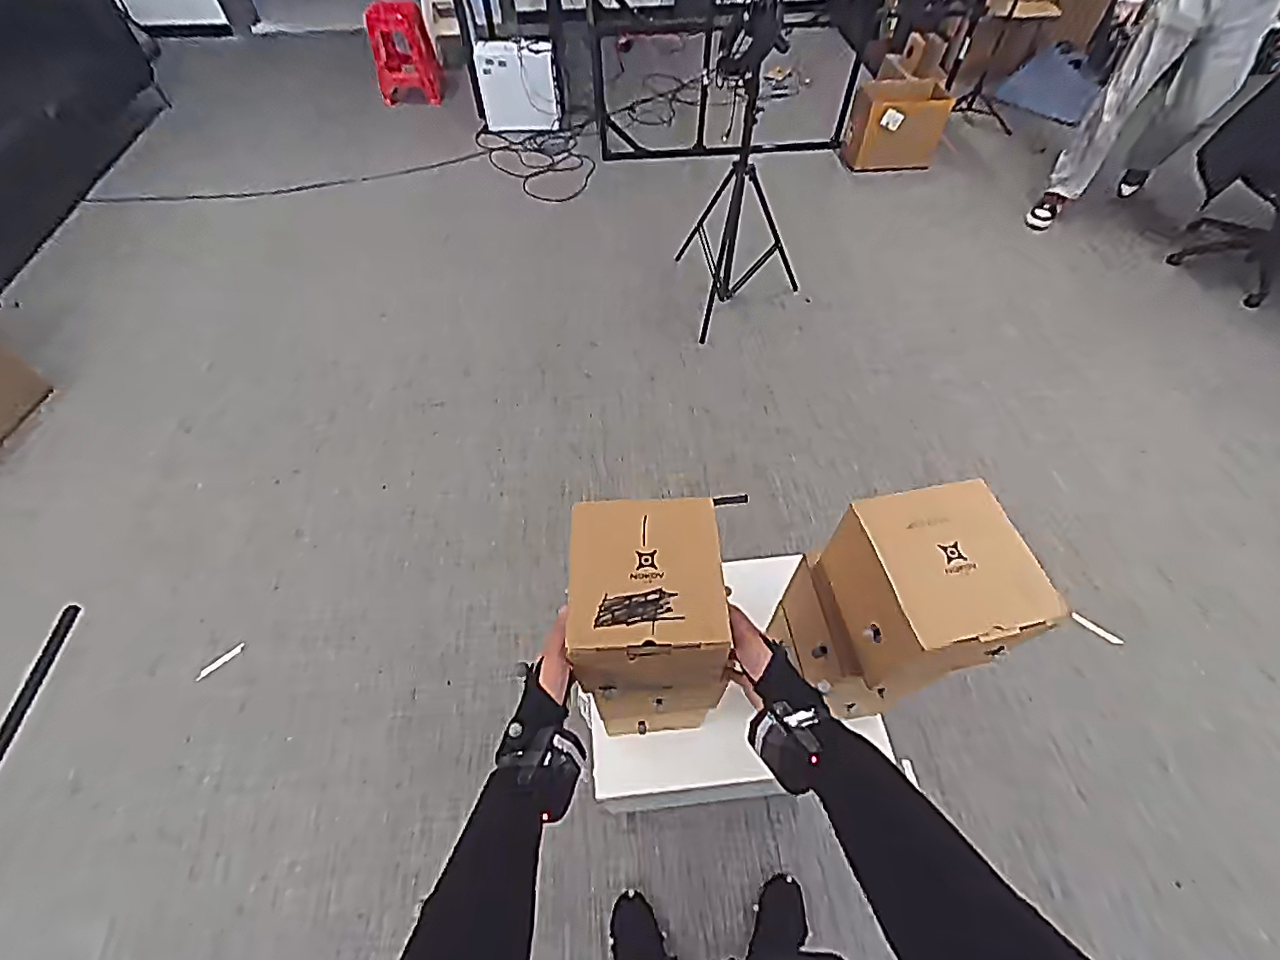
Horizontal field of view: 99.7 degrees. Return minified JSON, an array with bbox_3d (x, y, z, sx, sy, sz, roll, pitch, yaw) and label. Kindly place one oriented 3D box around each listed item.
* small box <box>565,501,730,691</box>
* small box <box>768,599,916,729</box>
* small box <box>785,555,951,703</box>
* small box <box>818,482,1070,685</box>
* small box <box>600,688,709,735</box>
[{"bbox_3d":[0.008,0.144,0.640,0.168,0.176,0.179,-2,54,-1],"label":"small box"},{"bbox_3d":[0.326,0.307,0.920,0.168,0.176,0.179,-8,56,-3],"label":"small box"},{"bbox_3d":[0.323,0.214,0.783,0.168,0.176,0.179,-7,56,-3],"label":"small box"},{"bbox_3d":[0.336,0.131,0.642,0.168,0.176,0.179,-10,56,-6],"label":"small box"},{"bbox_3d":[0.019,0.325,0.914,0.168,0.176,0.179,-4,55,-3],"label":"small box"}]
